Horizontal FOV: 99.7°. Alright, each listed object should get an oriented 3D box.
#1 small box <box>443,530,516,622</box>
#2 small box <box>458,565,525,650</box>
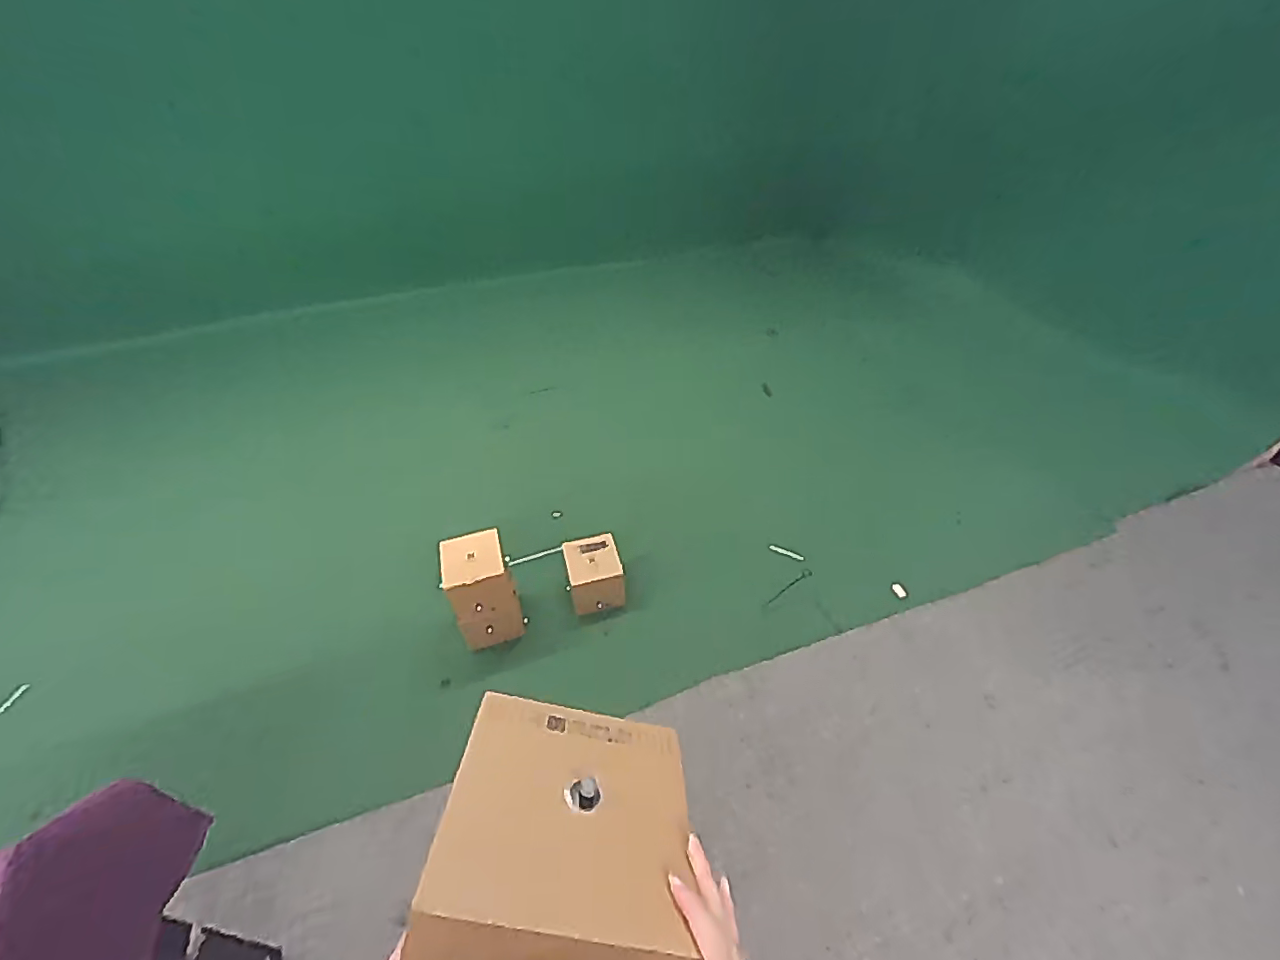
[{"bbox_3d":[-0.463,0.278,1.564,0.168,0.176,0.179,-14,44,-12],"label":"small box"},{"bbox_3d":[-0.460,0.396,1.676,0.179,0.176,0.168,-15,44,-12],"label":"small box"}]
